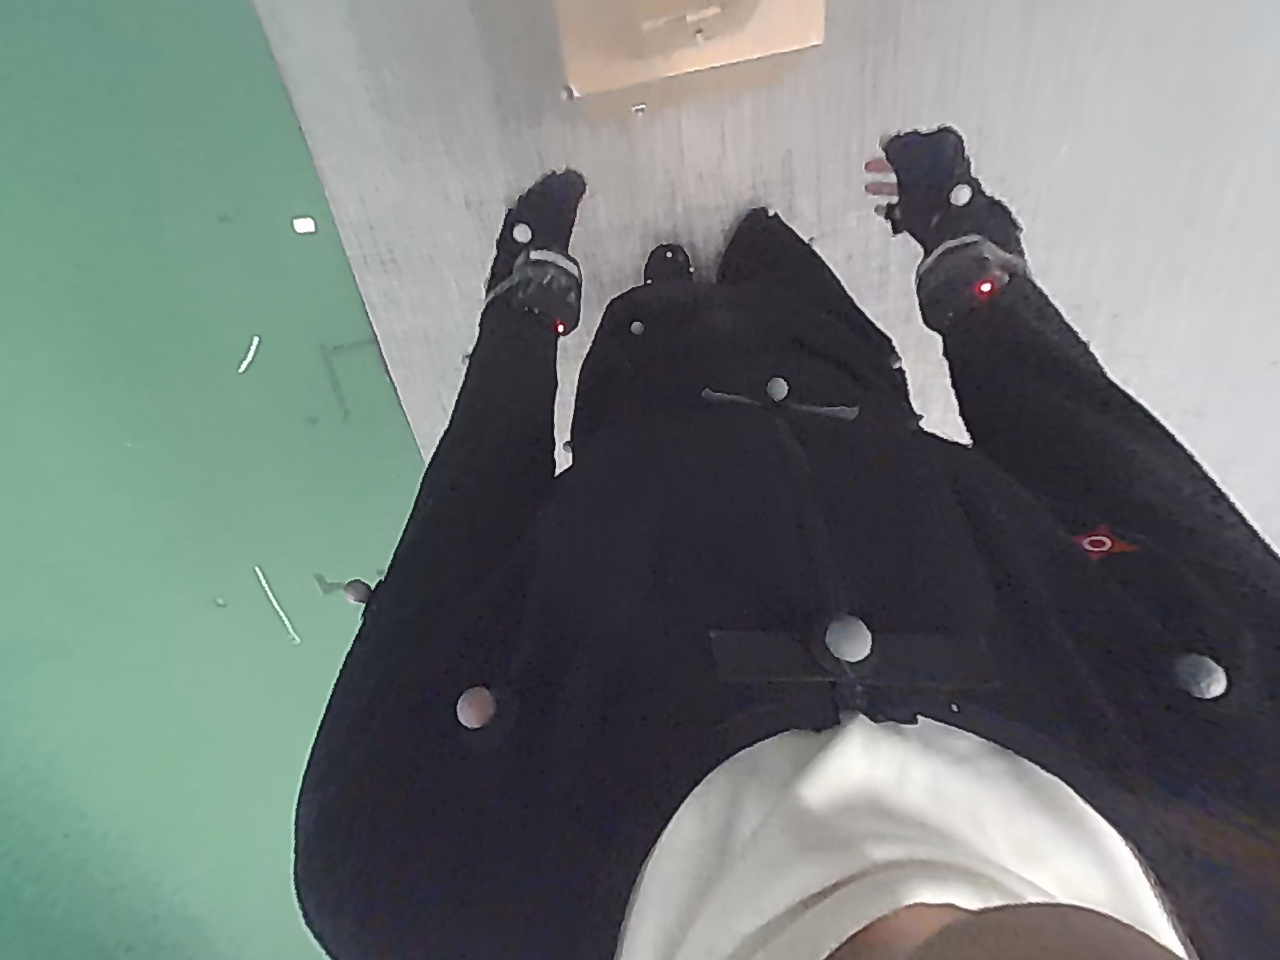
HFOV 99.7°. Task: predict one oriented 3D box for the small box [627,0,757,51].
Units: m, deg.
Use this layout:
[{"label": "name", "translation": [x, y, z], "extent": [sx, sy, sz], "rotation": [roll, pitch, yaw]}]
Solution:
[{"label": "small box", "translation": [0.058, -0.707, 0.725], "extent": [0.168, 0.176, 0.179], "rotation": [-11, 118, 7]}]
